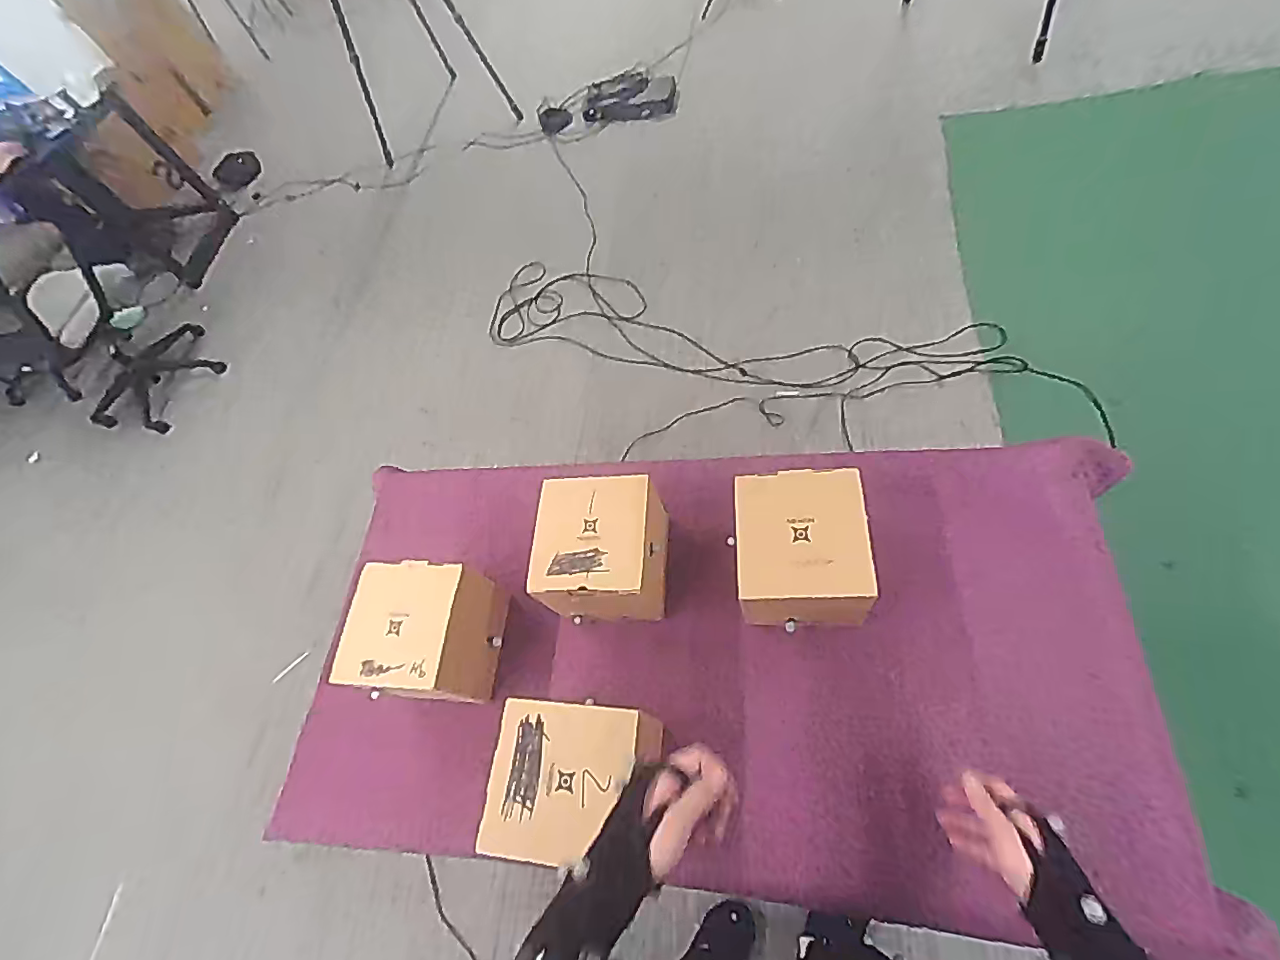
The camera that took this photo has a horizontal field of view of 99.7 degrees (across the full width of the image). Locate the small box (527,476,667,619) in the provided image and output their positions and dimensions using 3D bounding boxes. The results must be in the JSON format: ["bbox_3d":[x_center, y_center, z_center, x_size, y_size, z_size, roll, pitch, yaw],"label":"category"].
[{"bbox_3d":[-0.054,0.111,0.832,0.168,0.176,0.179,-2,62,13],"label":"small box"}]

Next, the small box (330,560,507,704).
[{"bbox_3d":[-0.323,0.235,0.831,0.168,0.176,0.179,-2,62,15],"label":"small box"}]

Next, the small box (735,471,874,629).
[{"bbox_3d":[0.223,0.104,0.767,0.168,0.176,0.179,-3,63,14],"label":"small box"}]
